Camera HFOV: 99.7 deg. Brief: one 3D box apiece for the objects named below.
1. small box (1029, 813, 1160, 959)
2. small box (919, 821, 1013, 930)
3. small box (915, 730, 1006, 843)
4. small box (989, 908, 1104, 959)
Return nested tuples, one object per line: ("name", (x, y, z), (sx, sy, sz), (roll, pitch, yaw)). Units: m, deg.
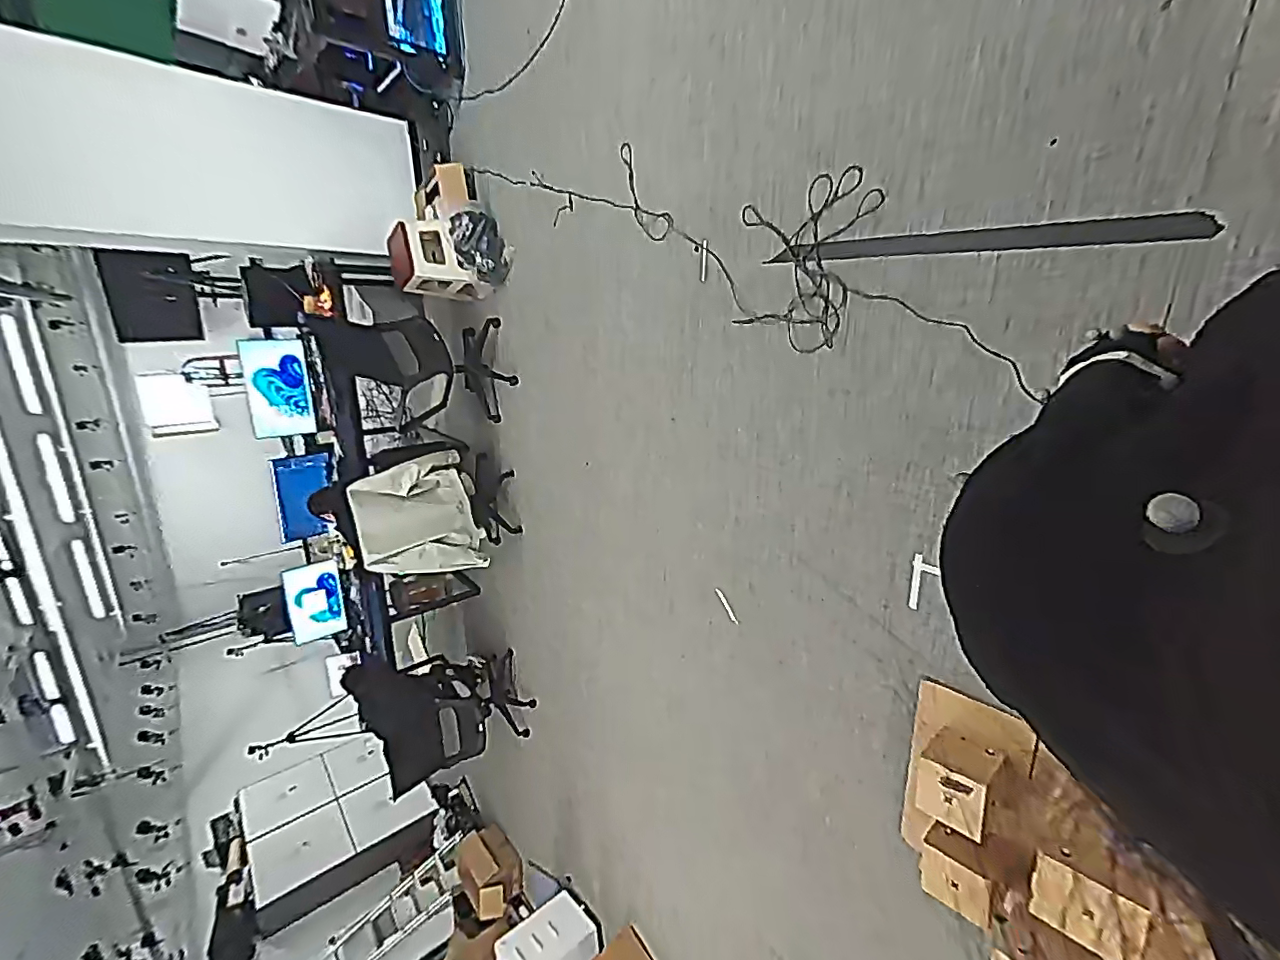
("small box", (0.949, 0.847, 1.128), (0.179, 0.176, 0.168), (13, 110, 48))
("small box", (0.909, 1.078, 1.511), (0.179, 0.176, 0.168), (10, 109, 48))
("small box", (0.876, 0.821, 1.473), (0.168, 0.176, 0.179), (12, 110, 48))
("small box", (0.925, 1.141, 1.241), (0.179, 0.176, 0.168), (16, 114, 47))
